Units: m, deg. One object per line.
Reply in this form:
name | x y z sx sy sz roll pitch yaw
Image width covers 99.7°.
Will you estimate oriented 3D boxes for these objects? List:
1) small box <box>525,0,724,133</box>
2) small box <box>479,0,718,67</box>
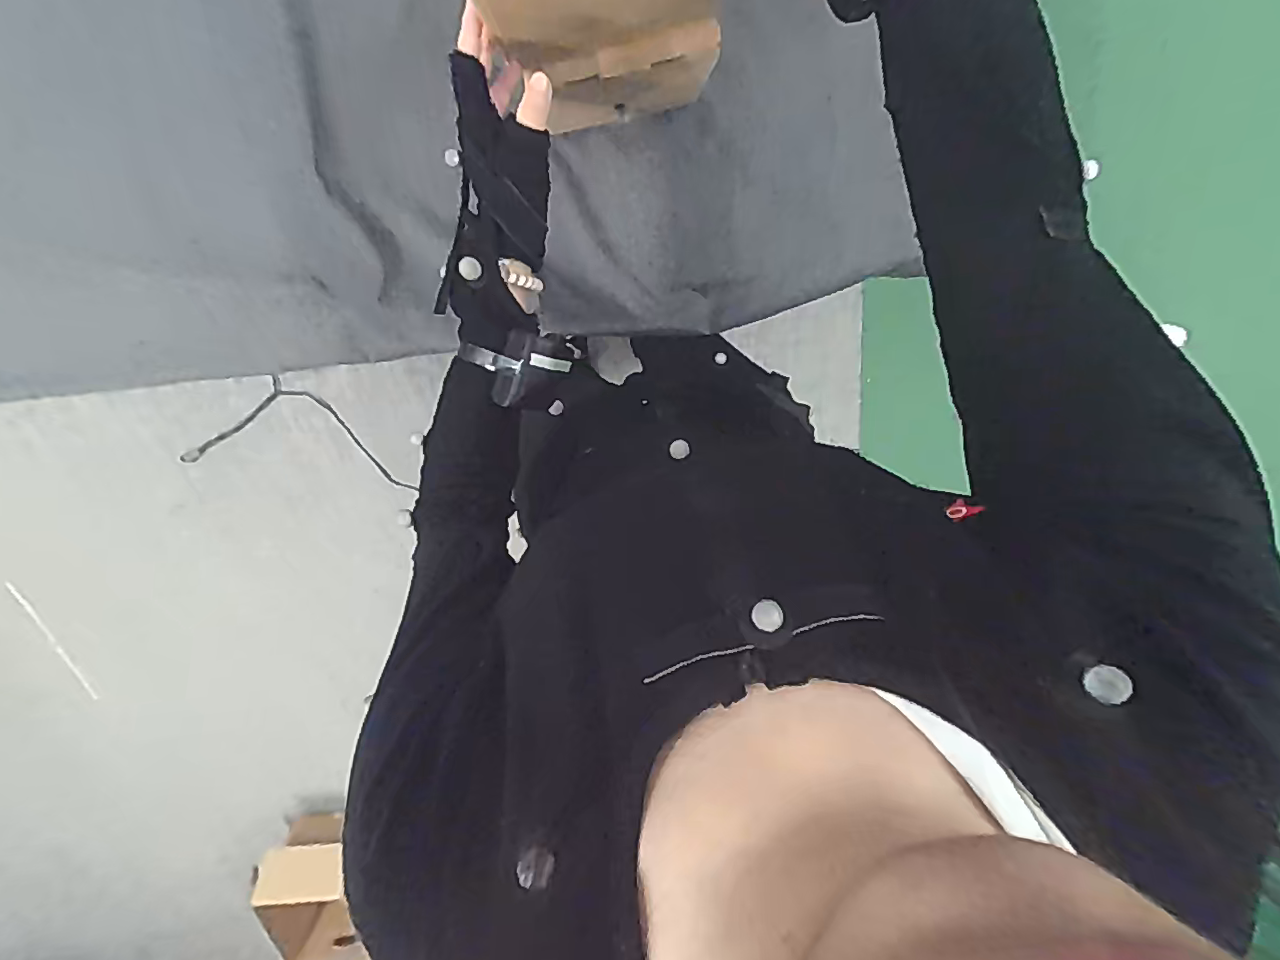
small box | -0.030 -0.442 0.484 0.168 0.176 0.179 -11 112 2
small box | -0.034 -0.388 0.329 0.179 0.176 0.168 -12 112 1
